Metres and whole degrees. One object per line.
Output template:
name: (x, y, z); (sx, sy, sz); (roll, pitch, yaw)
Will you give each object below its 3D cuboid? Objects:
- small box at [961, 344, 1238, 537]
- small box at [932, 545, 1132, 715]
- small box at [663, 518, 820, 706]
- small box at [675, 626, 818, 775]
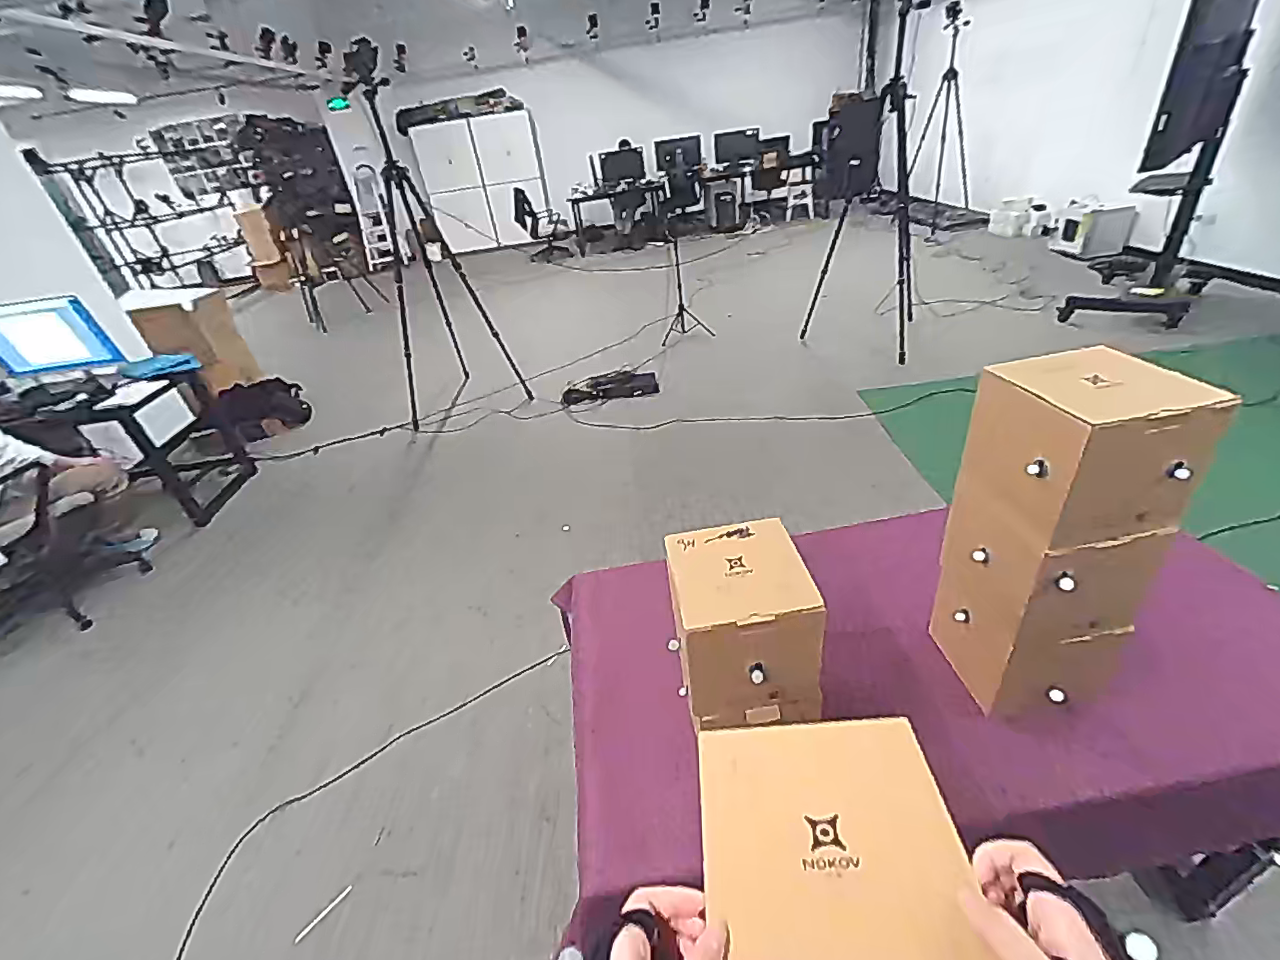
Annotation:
small box: (0.531, -0.046, 0.660); (0.168, 0.176, 0.179); (-10, 33, -2)
small box: (0.580, 0.228, 0.833); (0.168, 0.176, 0.179); (-10, 34, 1)
small box: (0.129, 0.180, 0.723); (0.168, 0.176, 0.179); (-9, 34, -1)
small box: (0.155, 0.315, 0.813); (0.168, 0.176, 0.179); (-11, 33, -2)
